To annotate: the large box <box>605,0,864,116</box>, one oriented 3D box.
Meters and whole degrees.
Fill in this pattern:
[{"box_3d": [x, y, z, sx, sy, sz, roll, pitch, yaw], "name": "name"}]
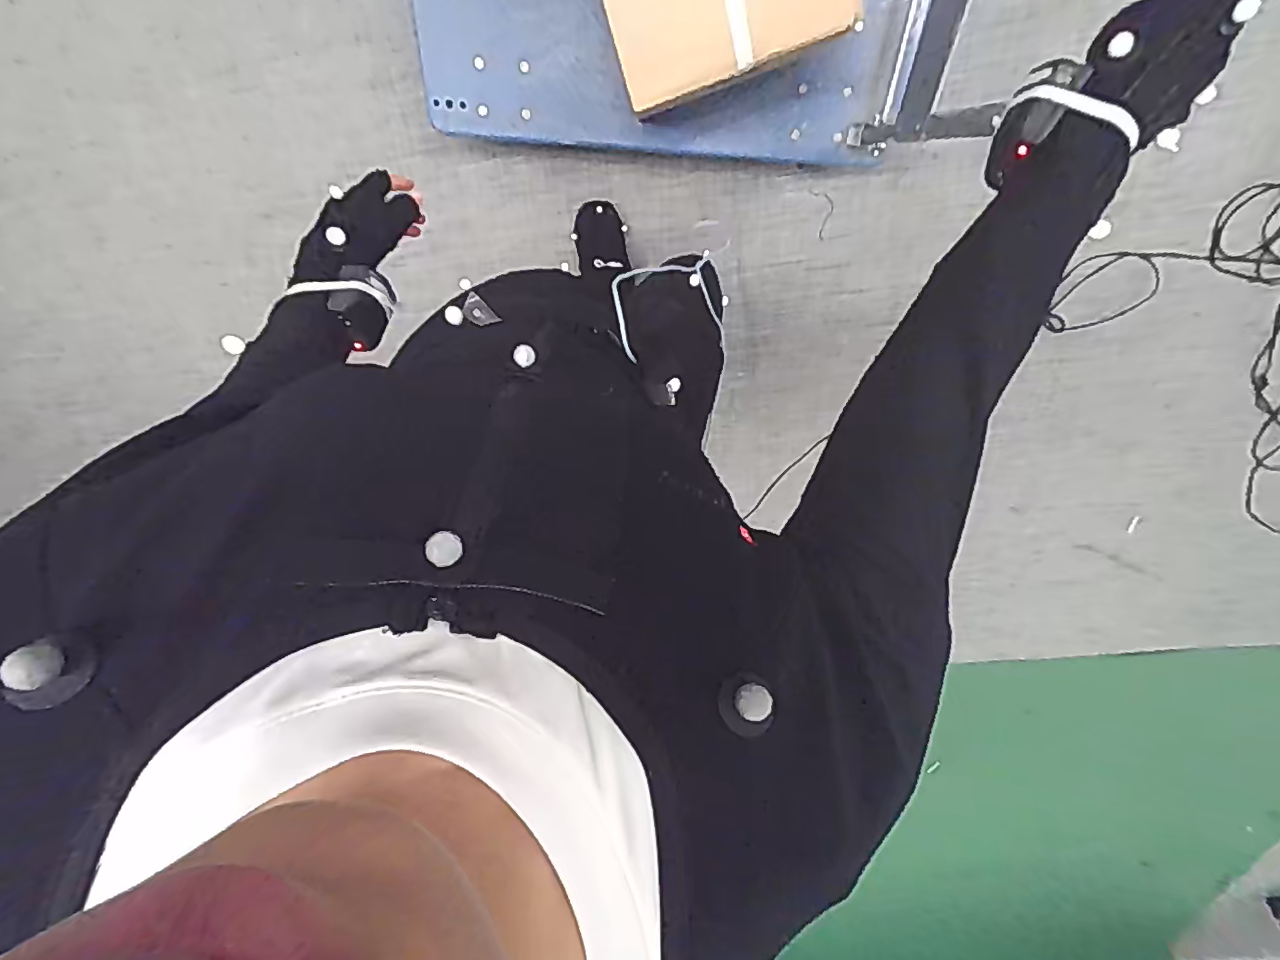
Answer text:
[{"box_3d": [0.079, -0.792, 0.749, 0.320, 0.320, 0.408, -16, 121, 11], "name": "large box"}]
